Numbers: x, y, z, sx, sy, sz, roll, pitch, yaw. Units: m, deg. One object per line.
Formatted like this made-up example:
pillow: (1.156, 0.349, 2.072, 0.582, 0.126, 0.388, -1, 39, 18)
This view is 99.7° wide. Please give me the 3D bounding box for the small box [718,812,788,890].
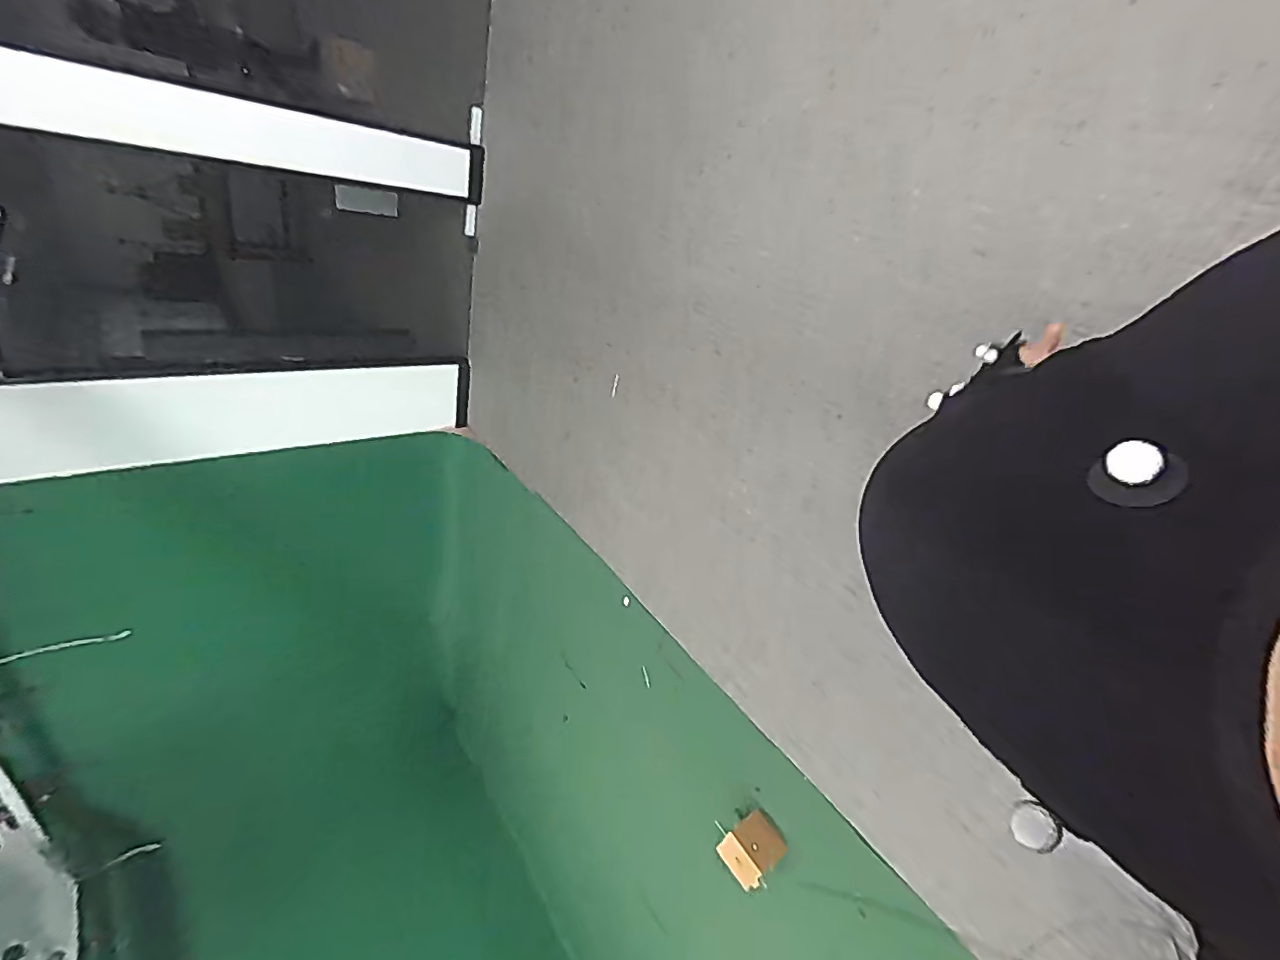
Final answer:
small box: (0.446, 1.452, 2.132, 0.179, 0.176, 0.168, 44, 130, 34)
